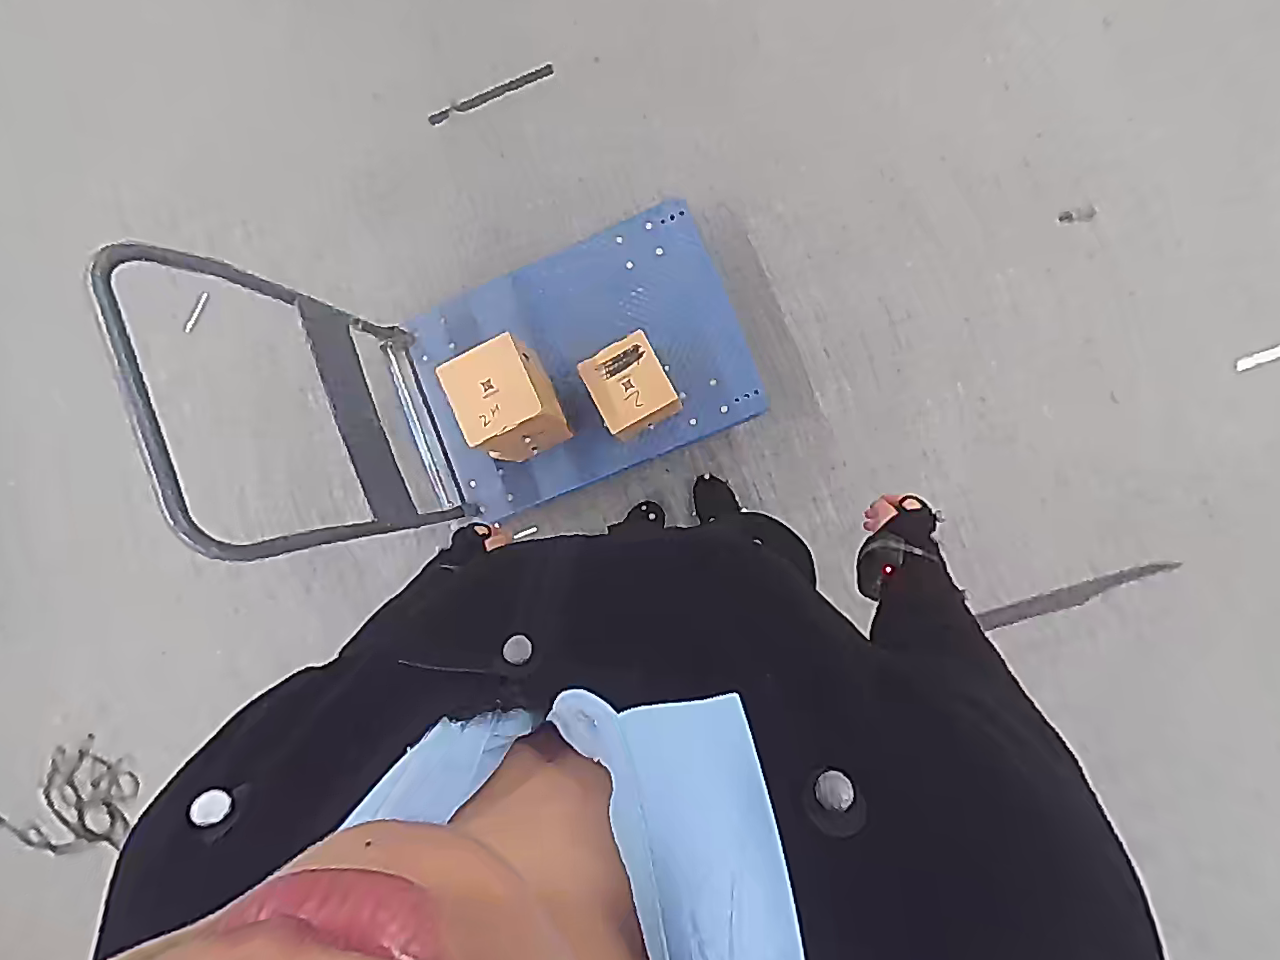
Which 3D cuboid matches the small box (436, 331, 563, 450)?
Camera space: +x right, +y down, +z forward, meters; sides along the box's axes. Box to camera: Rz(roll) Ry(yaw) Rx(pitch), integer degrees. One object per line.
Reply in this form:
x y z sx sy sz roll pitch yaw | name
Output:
-0.281 -0.173 1.112 0.168 0.176 0.179 -25 87 7 | small box

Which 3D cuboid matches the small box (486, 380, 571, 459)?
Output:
-0.283 -0.160 1.278 0.168 0.176 0.179 -26 86 6 | small box
